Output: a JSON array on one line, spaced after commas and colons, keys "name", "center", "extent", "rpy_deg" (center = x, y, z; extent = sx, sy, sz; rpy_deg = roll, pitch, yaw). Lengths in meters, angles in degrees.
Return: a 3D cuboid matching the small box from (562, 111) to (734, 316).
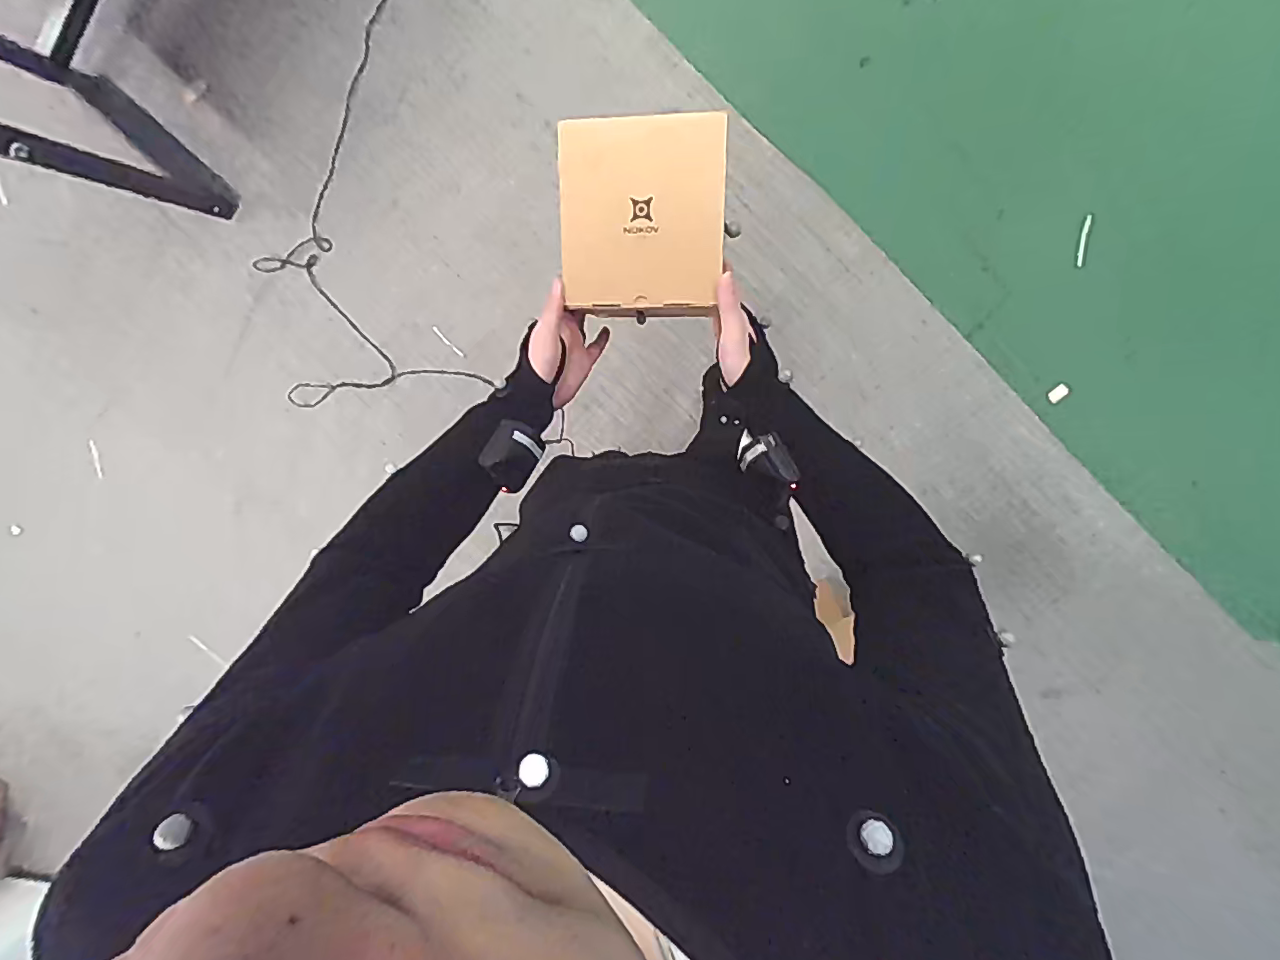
[{"name": "small box", "center": [0.013, -0.279, 0.604], "extent": [0.168, 0.176, 0.179], "rpy_deg": [1, 105, 6]}]
